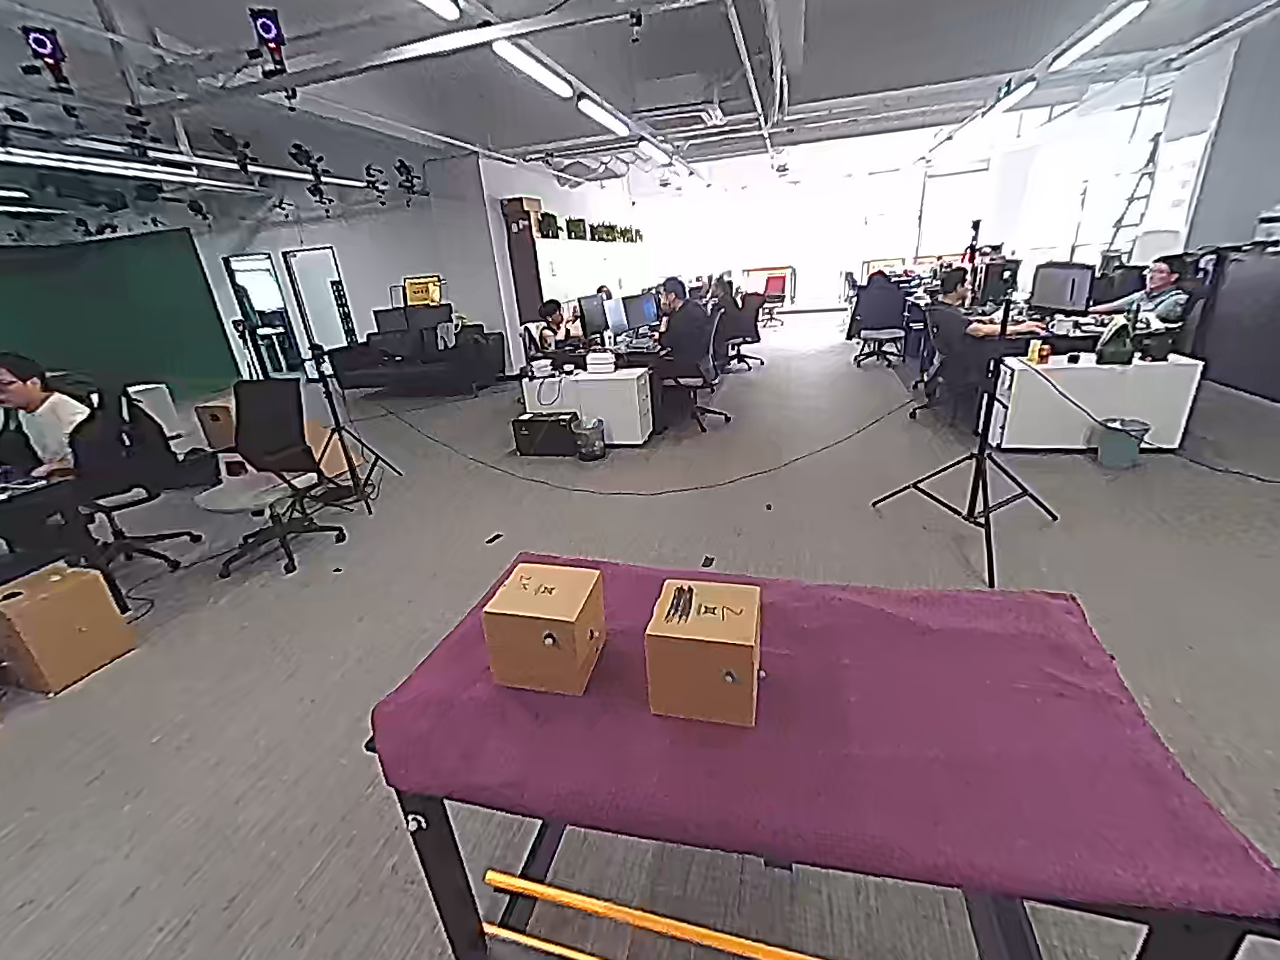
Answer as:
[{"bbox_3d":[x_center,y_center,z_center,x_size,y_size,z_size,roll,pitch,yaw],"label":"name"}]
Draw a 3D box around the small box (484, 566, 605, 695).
[{"bbox_3d":[-0.172,0.285,1.037,0.179,0.176,0.168,3,22,13],"label":"small box"}]
